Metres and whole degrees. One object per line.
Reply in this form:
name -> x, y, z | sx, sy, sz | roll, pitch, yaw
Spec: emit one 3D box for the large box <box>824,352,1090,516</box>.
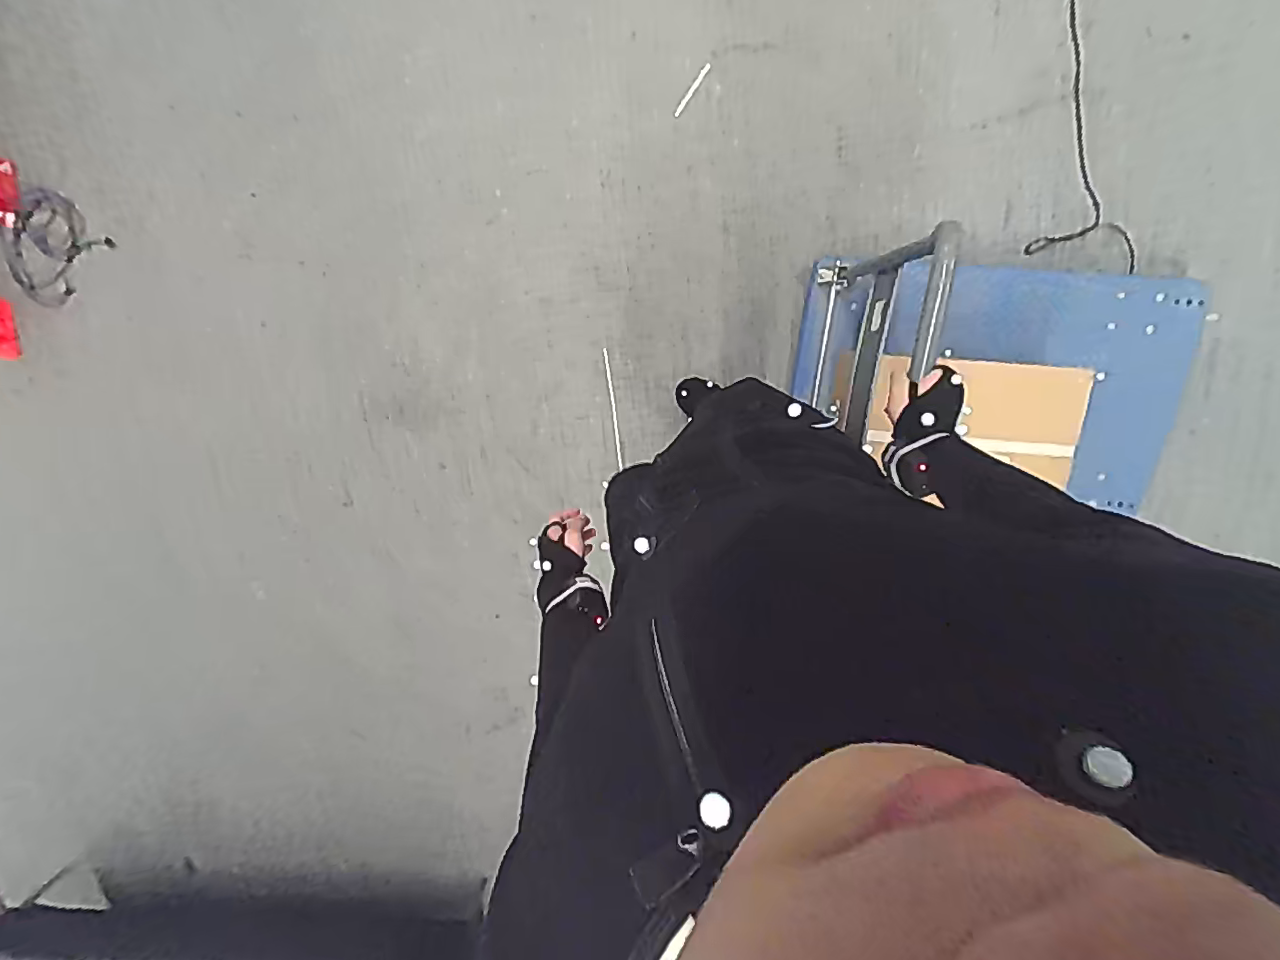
large box -> 0.664, -0.123, 1.220 | 0.408, 0.320, 0.320 | 5, 105, 6
